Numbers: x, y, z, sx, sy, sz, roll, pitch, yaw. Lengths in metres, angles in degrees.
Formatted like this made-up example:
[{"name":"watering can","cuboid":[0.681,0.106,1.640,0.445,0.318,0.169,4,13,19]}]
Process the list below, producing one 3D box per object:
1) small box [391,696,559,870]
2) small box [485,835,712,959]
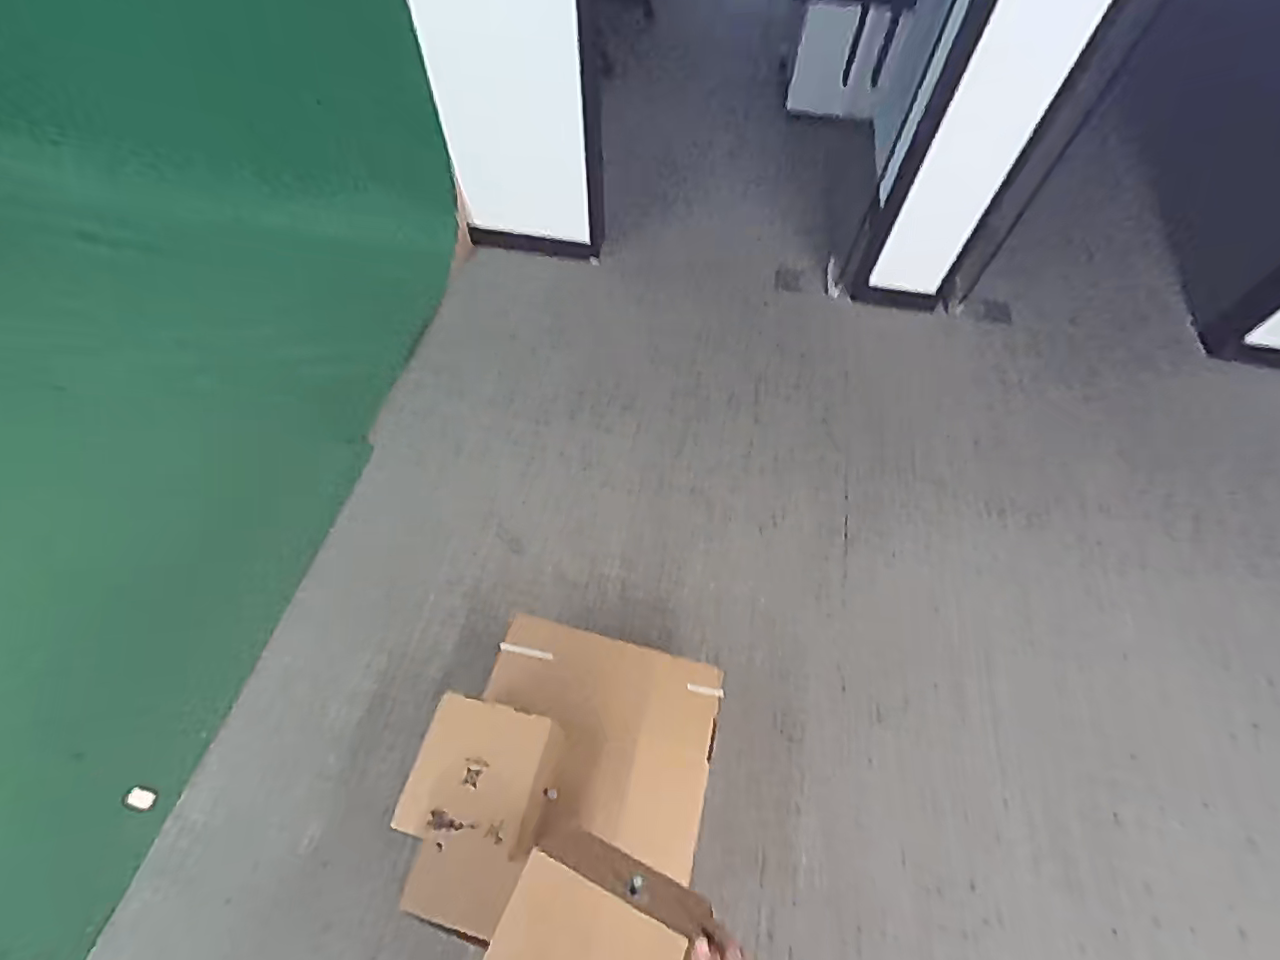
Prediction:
[{"name":"small box","cuboid":[-0.223,0.442,0.790,0.168,0.176,0.179,12,57,6]},{"name":"small box","cuboid":[-0.042,0.447,0.478,0.179,0.176,0.168,23,68,14]}]
